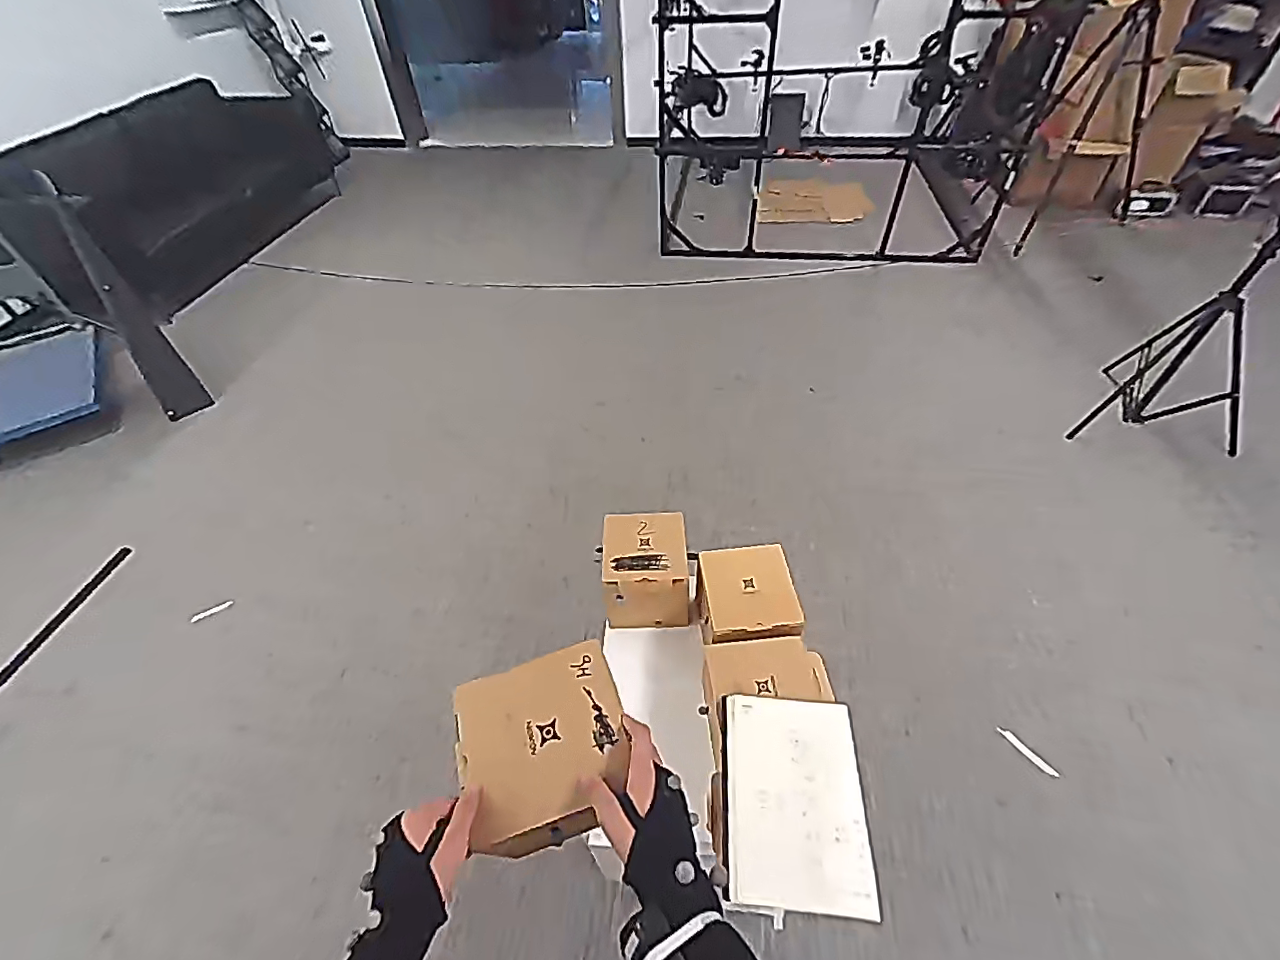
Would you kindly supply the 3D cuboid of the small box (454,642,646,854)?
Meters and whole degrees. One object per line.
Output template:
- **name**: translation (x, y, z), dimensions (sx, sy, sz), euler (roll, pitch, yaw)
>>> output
- **small box**: translation (-0.101, 0.322, 0.641), dimensions (0.179, 0.176, 0.168), euler (-16, 54, -7)
